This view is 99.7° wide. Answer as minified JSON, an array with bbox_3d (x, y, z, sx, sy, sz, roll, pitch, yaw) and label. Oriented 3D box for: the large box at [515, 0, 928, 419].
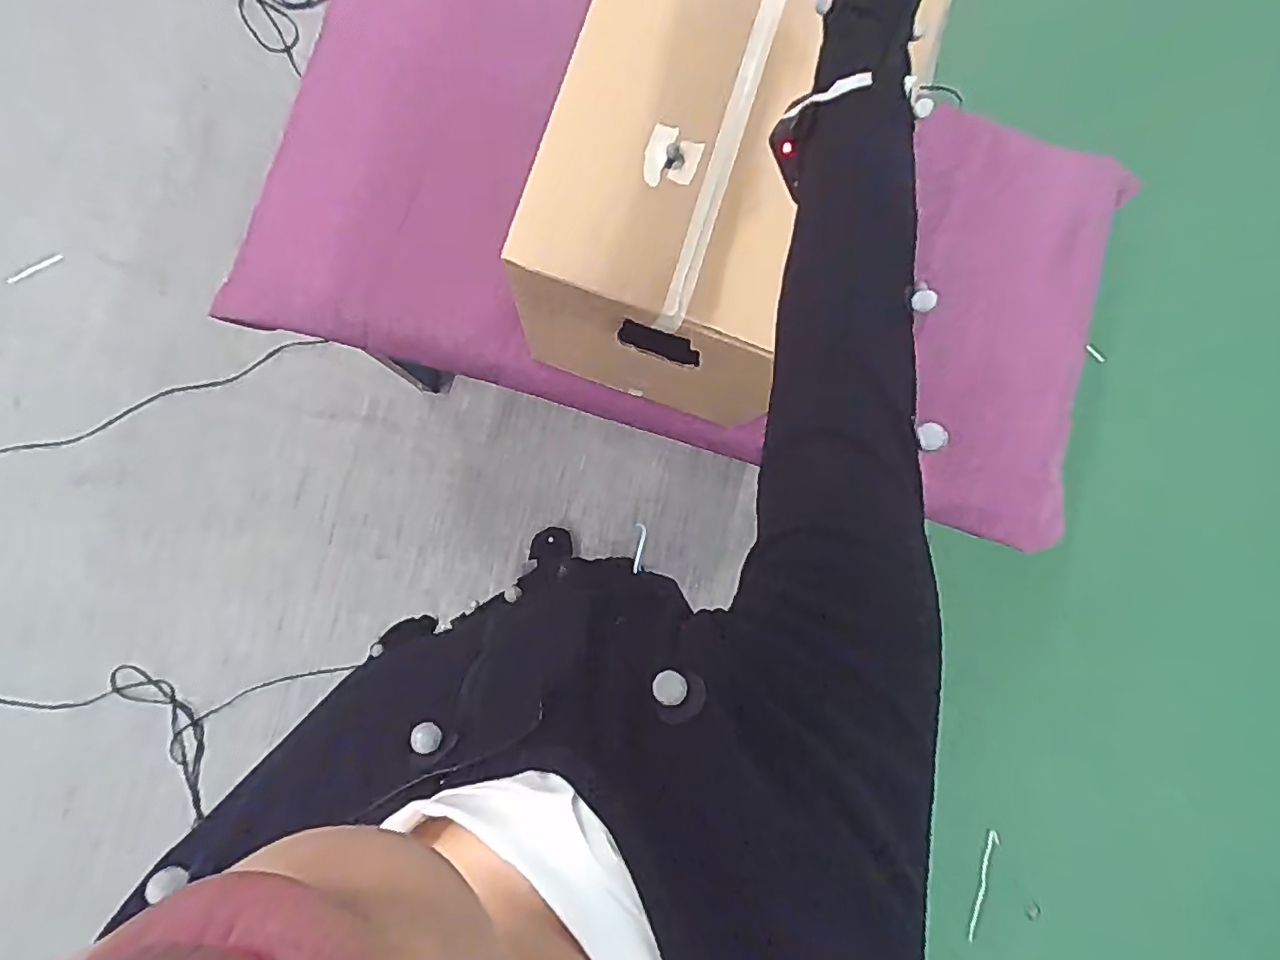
[{"bbox_3d":[0.071,-0.329,0.657,0.320,0.320,0.408,19,86,-5],"label":"large box"}]
